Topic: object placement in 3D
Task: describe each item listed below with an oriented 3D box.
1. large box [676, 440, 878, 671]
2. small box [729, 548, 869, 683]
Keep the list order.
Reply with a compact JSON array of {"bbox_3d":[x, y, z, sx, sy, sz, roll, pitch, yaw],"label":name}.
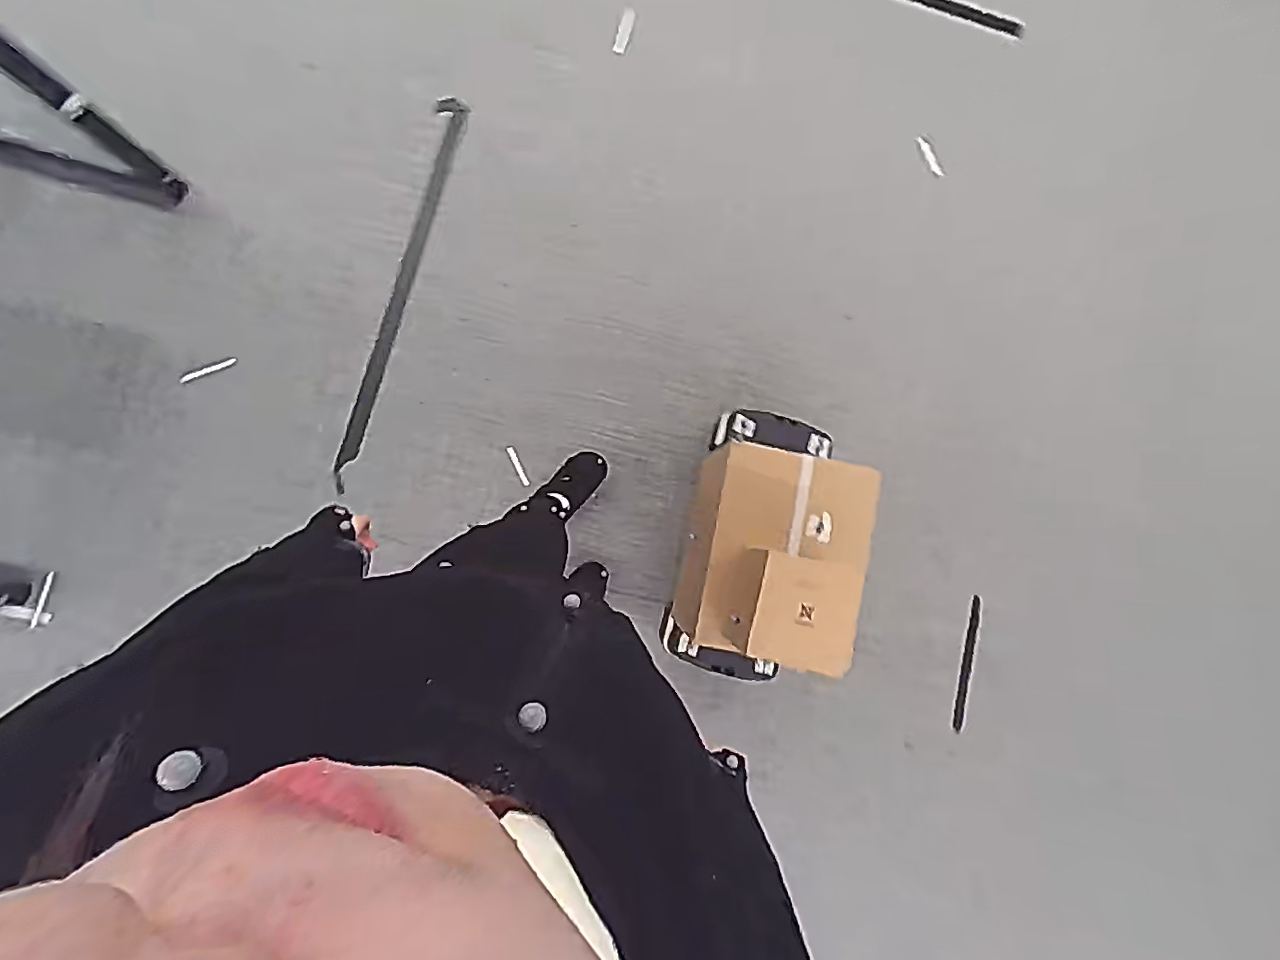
[{"bbox_3d":[0.278,0.160,1.190,0.320,0.320,0.408,12,83,-4],"label":"large box"},{"bbox_3d":[0.263,0.224,0.936,0.168,0.176,0.179,16,83,-3],"label":"small box"}]
